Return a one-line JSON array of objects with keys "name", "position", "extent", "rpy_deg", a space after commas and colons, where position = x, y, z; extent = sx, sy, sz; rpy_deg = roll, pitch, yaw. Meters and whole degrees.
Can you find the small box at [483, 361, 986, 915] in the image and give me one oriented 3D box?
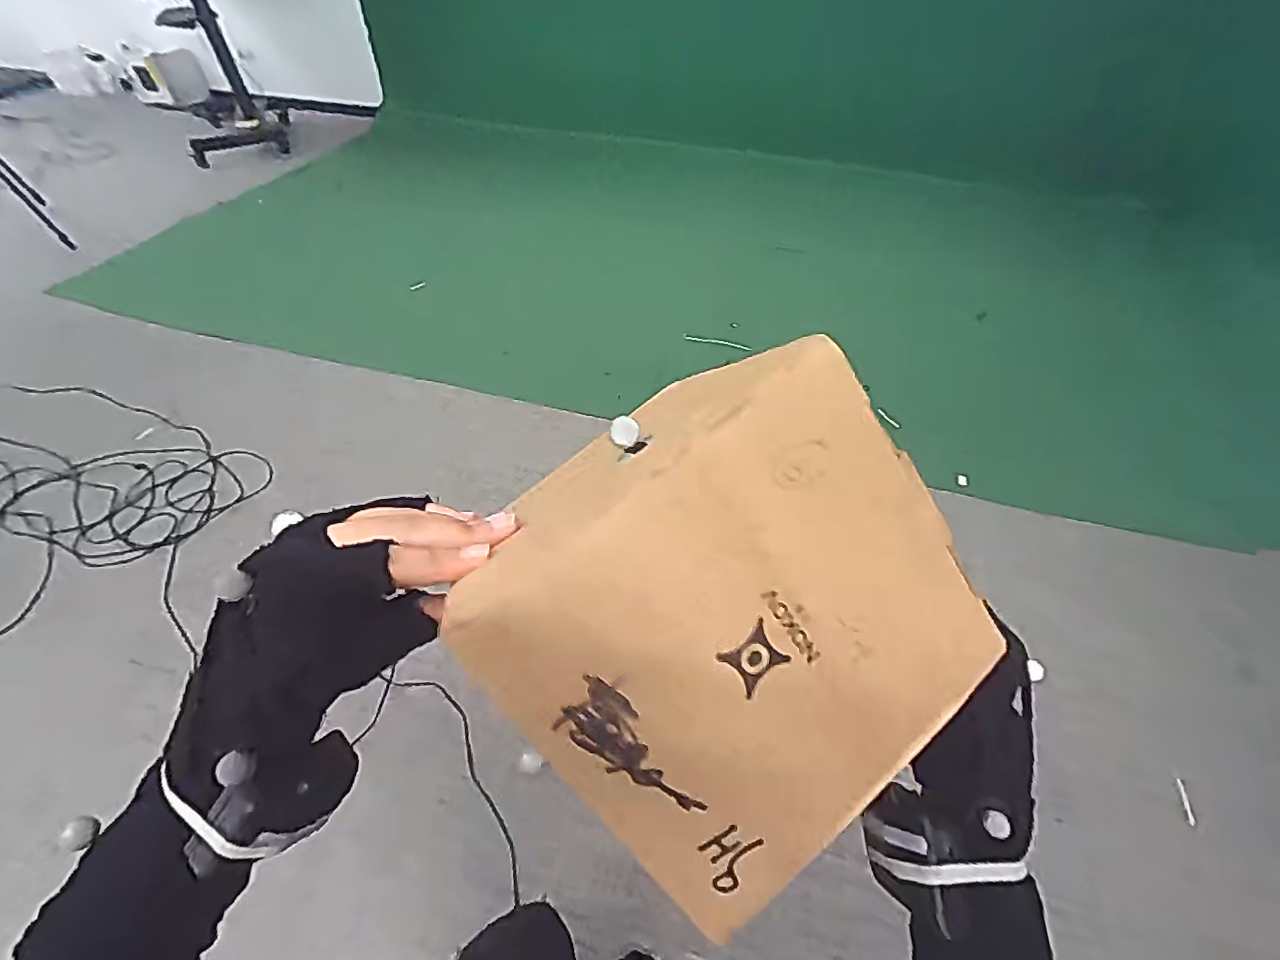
[{"name": "small box", "position": [0.031, 0.058, 0.296], "extent": [0.179, 0.168, 0.176], "rpy_deg": [-38, 14, -11]}]
